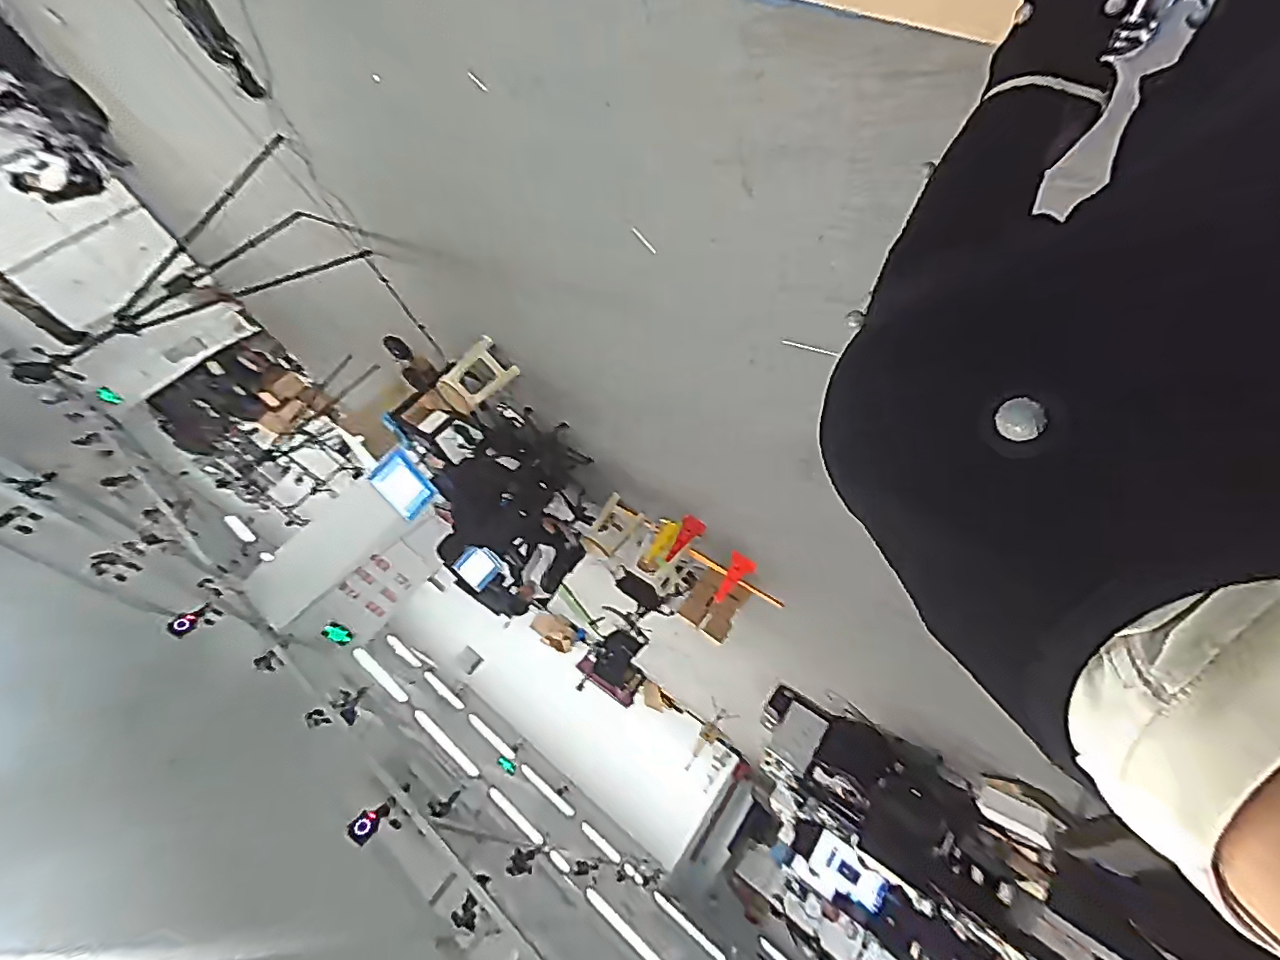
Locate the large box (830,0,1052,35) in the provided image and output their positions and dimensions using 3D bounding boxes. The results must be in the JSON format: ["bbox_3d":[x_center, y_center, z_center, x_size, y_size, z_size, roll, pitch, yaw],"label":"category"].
[{"bbox_3d":[0.461,-0.904,0.754,0.408,0.320,0.320,32,157,20],"label":"large box"}]
